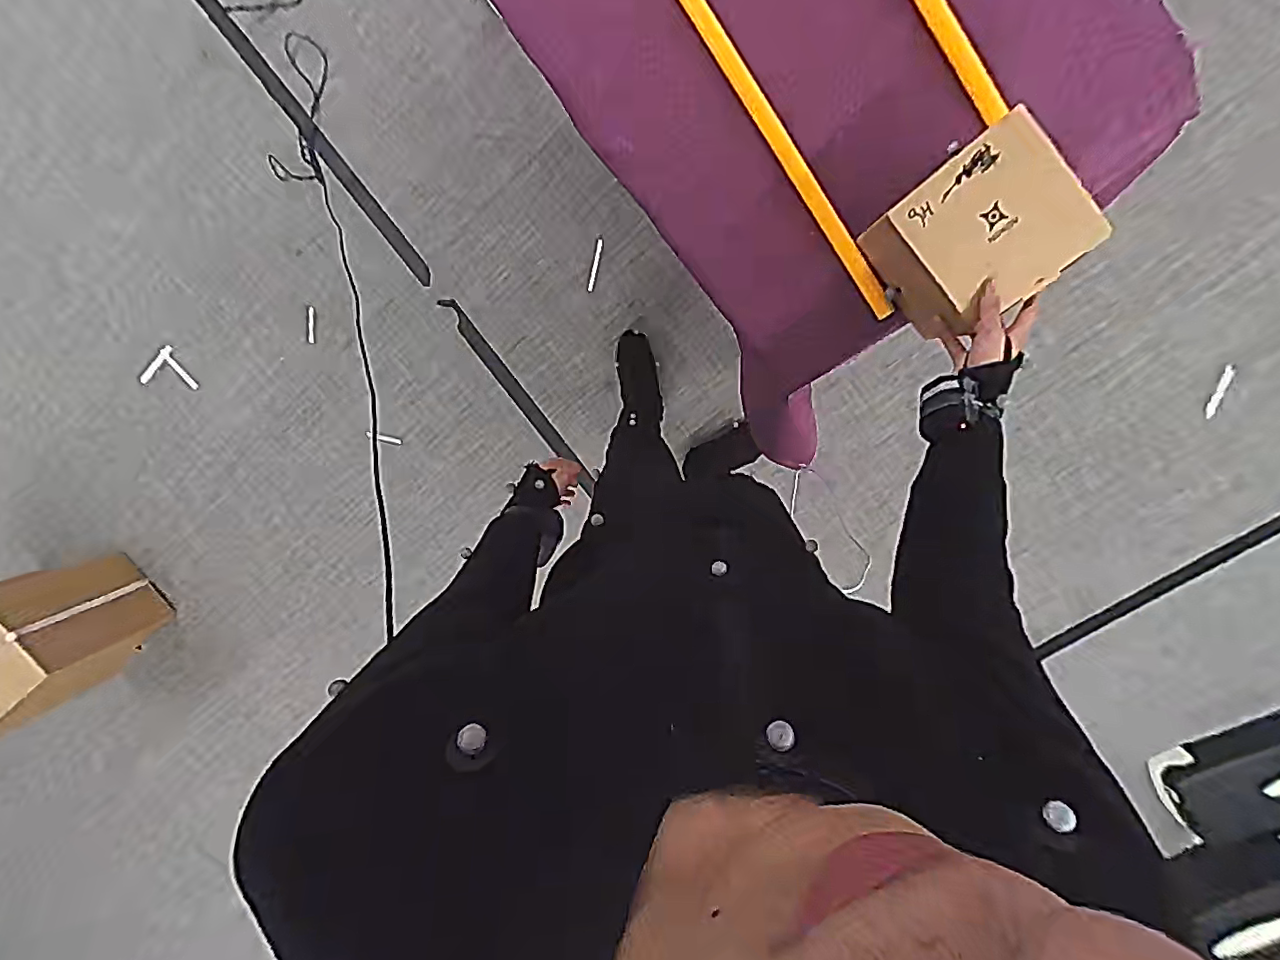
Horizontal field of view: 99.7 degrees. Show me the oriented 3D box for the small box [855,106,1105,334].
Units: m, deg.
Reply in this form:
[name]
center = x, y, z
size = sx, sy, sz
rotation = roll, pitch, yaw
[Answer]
[small box]
center = 0.401, -0.302, 0.672
size = 0.168, 0.176, 0.179
rotation = -38, 96, 15
